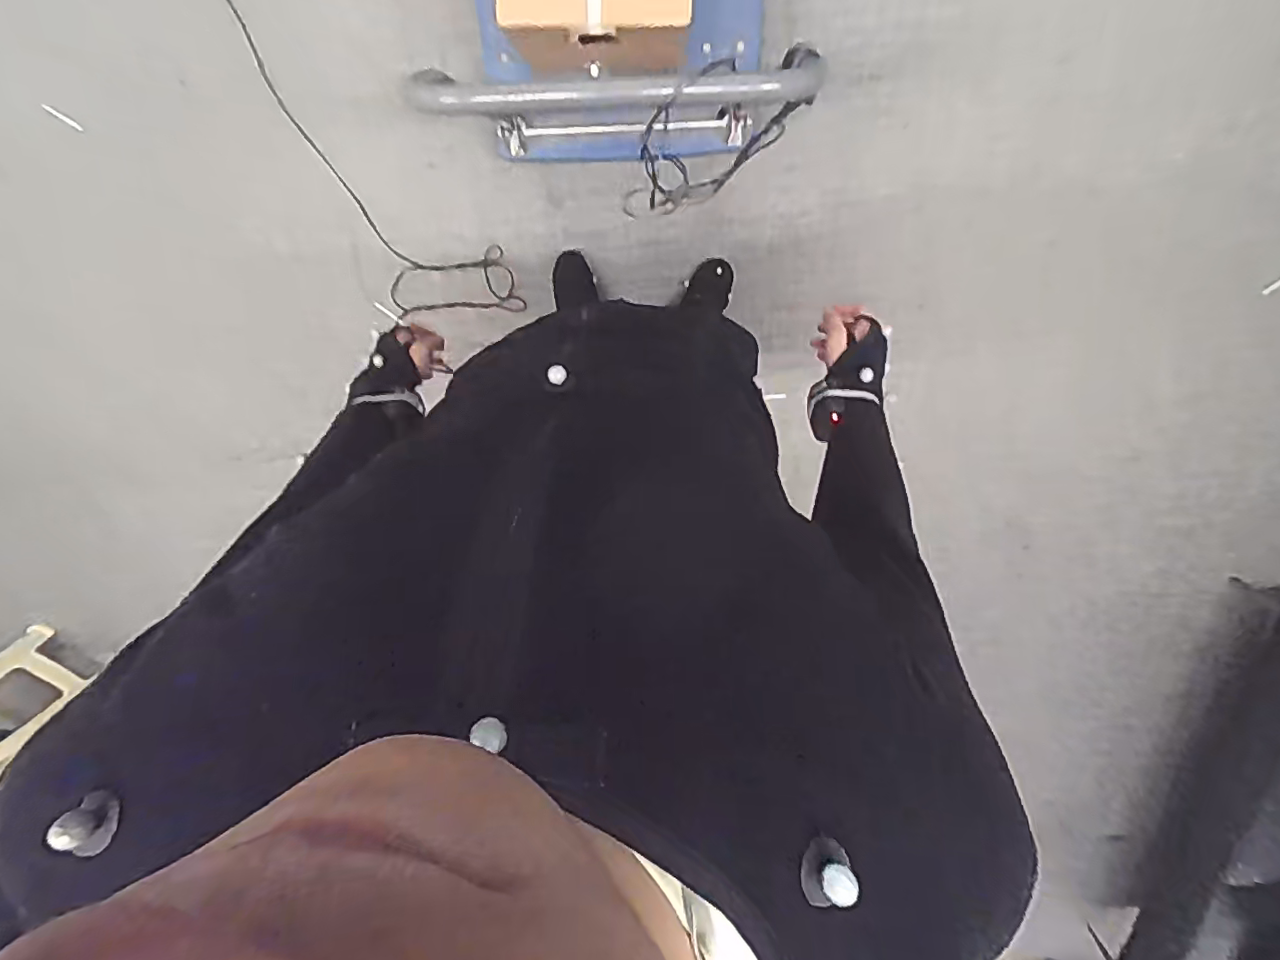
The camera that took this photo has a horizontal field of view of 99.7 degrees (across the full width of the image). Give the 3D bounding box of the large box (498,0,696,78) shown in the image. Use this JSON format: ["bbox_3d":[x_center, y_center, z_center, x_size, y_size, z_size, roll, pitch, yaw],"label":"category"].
[{"bbox_3d":[-0.065,-0.959,0.910,0.320,0.320,0.408,1,114,0],"label":"large box"}]
